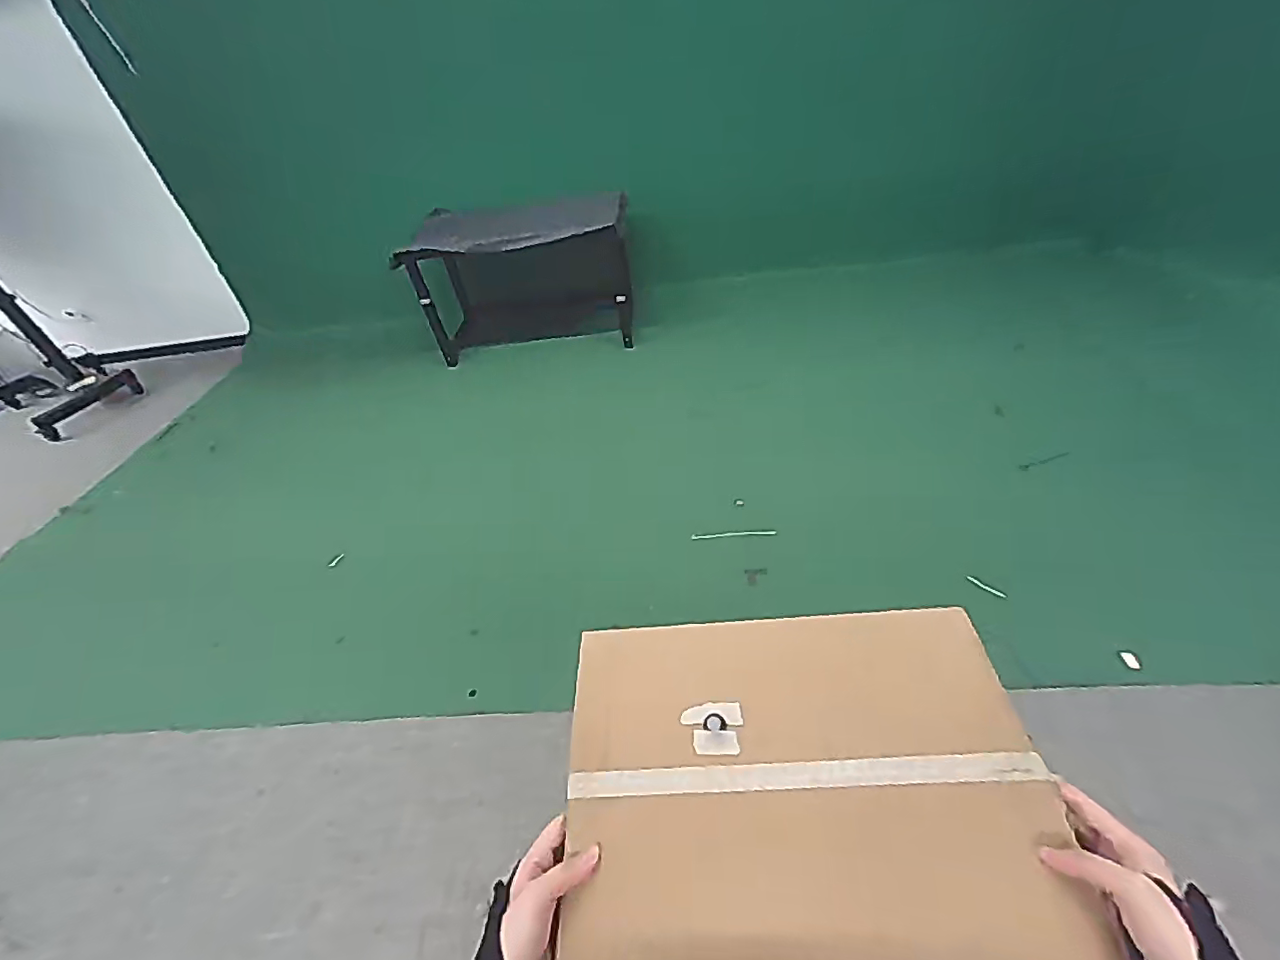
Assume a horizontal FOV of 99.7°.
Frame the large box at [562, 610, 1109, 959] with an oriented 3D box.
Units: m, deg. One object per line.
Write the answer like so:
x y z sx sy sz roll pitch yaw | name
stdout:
0.159 0.373 0.592 0.408 0.320 0.320 -7 45 7 | large box
